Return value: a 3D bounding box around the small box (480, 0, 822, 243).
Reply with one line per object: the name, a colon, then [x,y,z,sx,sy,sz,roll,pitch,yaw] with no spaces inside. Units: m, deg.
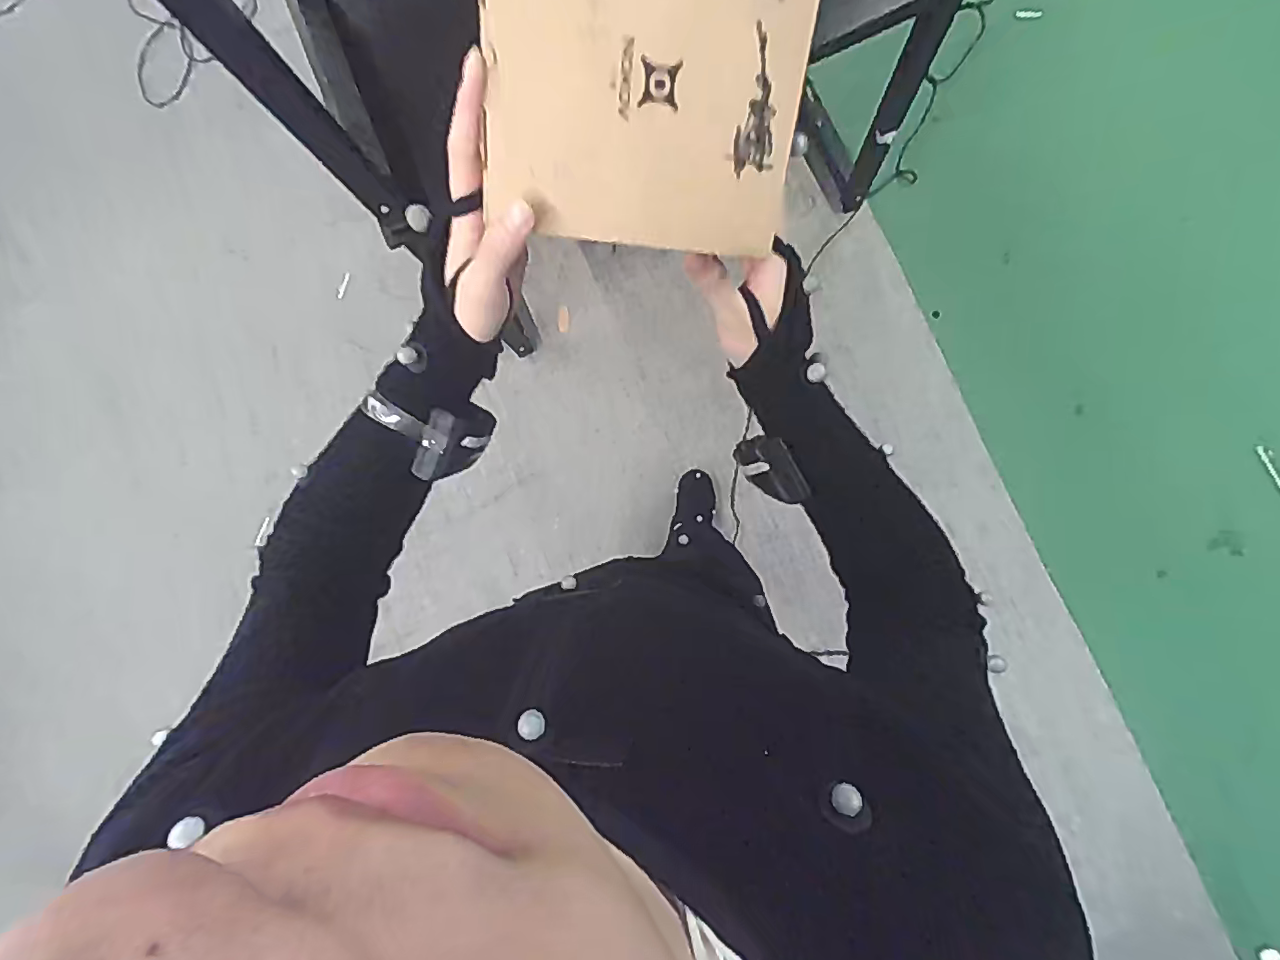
small box: [0.003,-0.258,0.357,0.179,0.176,0.168,5,117,-4]
